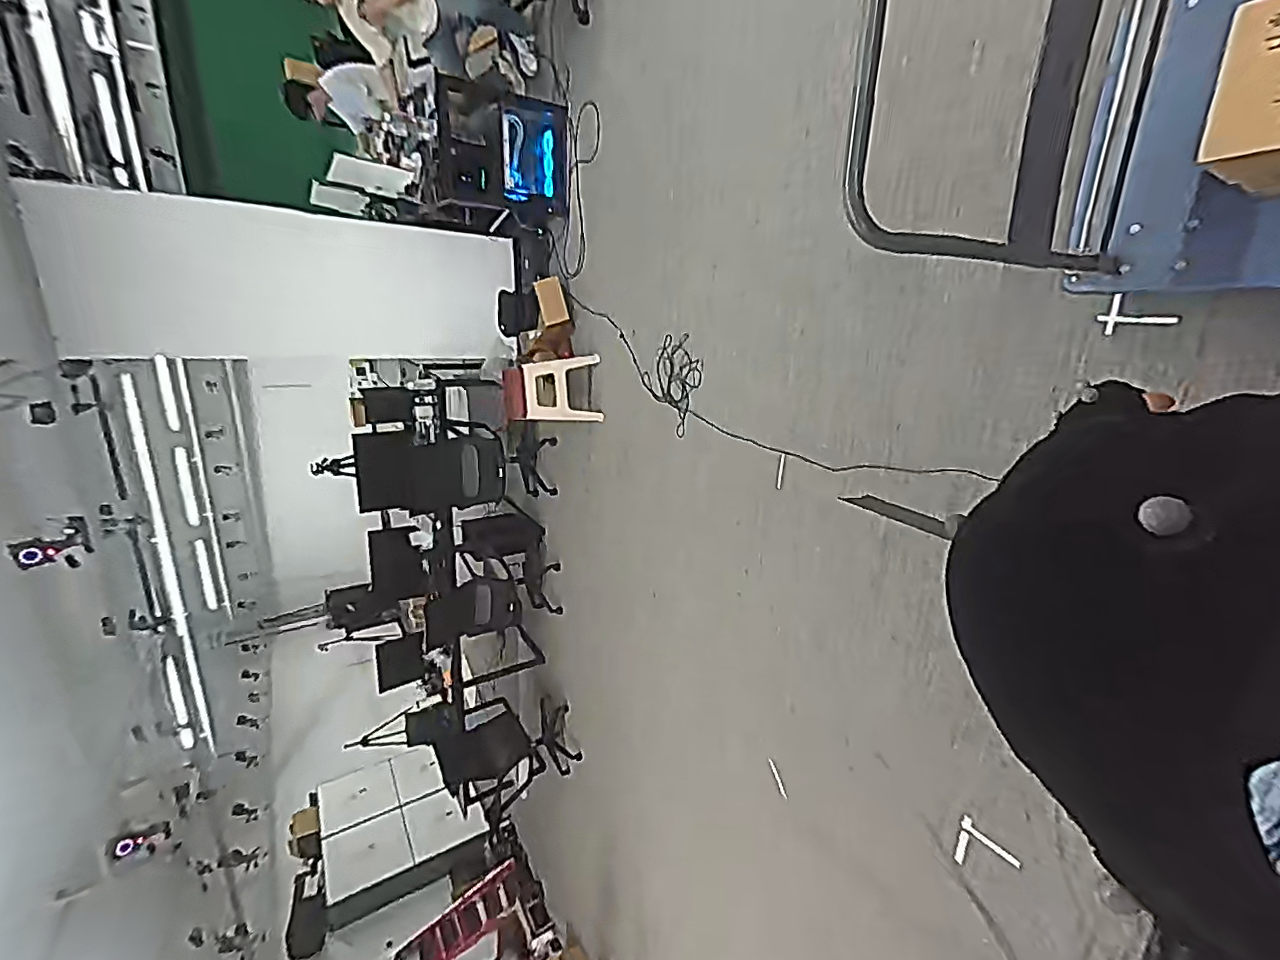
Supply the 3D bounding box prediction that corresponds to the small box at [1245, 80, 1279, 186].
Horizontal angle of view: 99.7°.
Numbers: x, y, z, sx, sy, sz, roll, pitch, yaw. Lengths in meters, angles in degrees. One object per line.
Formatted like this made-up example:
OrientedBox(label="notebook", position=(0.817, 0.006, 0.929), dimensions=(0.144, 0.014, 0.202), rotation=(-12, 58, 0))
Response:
OrientedBox(label="small box", position=(0.981, -0.506, 0.724), dimensions=(0.168, 0.176, 0.179), rotation=(31, 123, 52))
